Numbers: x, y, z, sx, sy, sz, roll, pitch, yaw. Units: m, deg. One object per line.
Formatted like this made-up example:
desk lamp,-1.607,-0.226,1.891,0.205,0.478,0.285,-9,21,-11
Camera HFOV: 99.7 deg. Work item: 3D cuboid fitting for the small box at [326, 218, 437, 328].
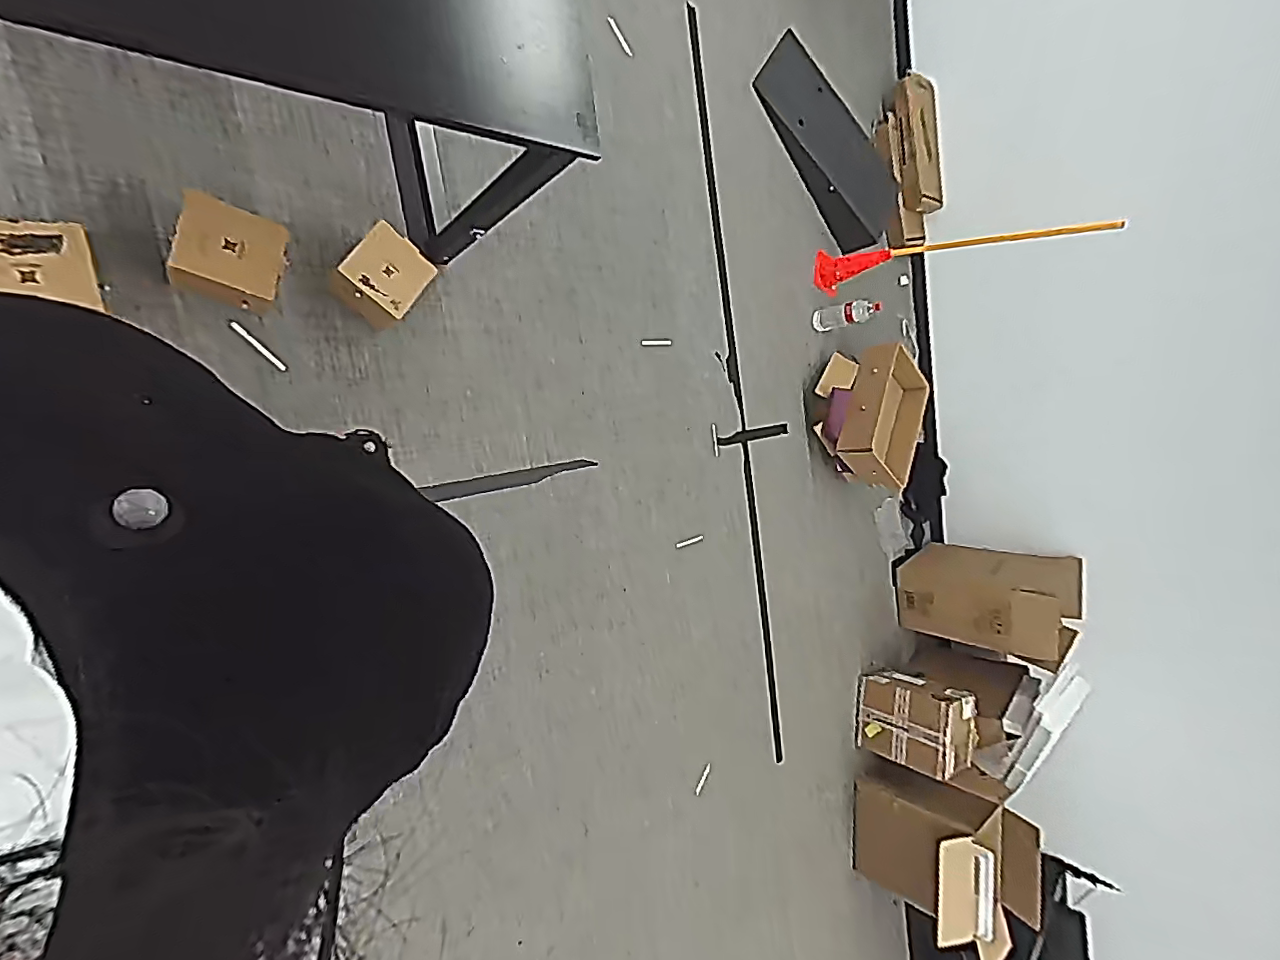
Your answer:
small box,-0.651,-0.509,1.352,0.168,0.176,0.179,41,66,-33

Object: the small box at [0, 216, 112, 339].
small box,-1.093,-0.359,0.978,0.168,0.176,0.179,-14,102,-39

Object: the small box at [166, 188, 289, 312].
small box,-0.882,-0.477,1.159,0.179,0.176,0.168,14,81,-39
